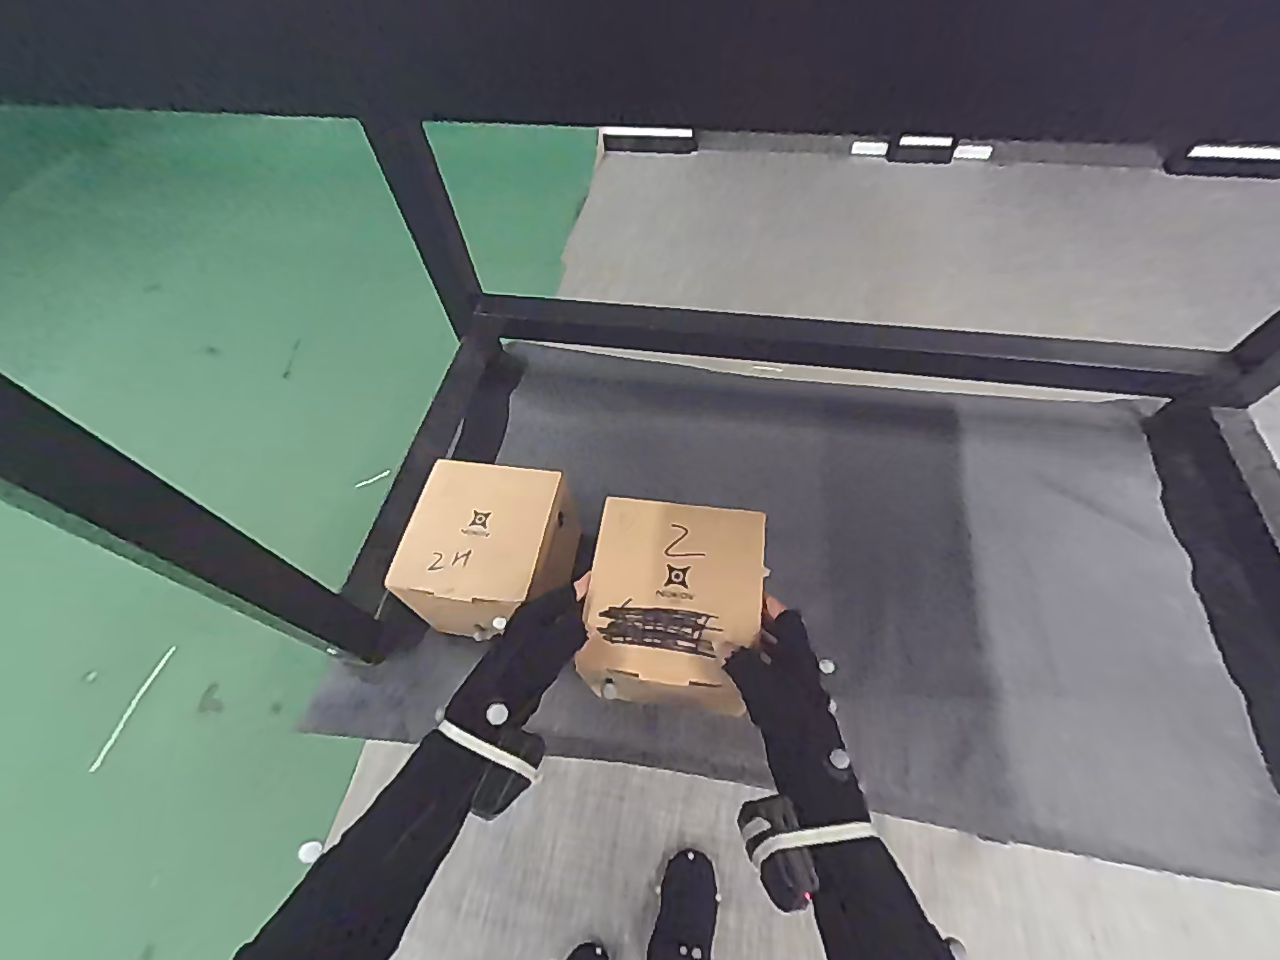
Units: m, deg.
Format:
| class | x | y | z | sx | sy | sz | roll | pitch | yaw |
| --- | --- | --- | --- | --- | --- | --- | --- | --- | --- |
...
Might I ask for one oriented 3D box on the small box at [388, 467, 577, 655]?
| class | x | y | z | sx | sy | sz | roll | pitch | yaw |
| --- | --- | --- | --- | --- | --- | --- | --- | --- | --- |
| small box | -0.184 | 0.107 | 0.699 | 0.168 | 0.176 | 0.179 | 6 | 57 | 8 |
